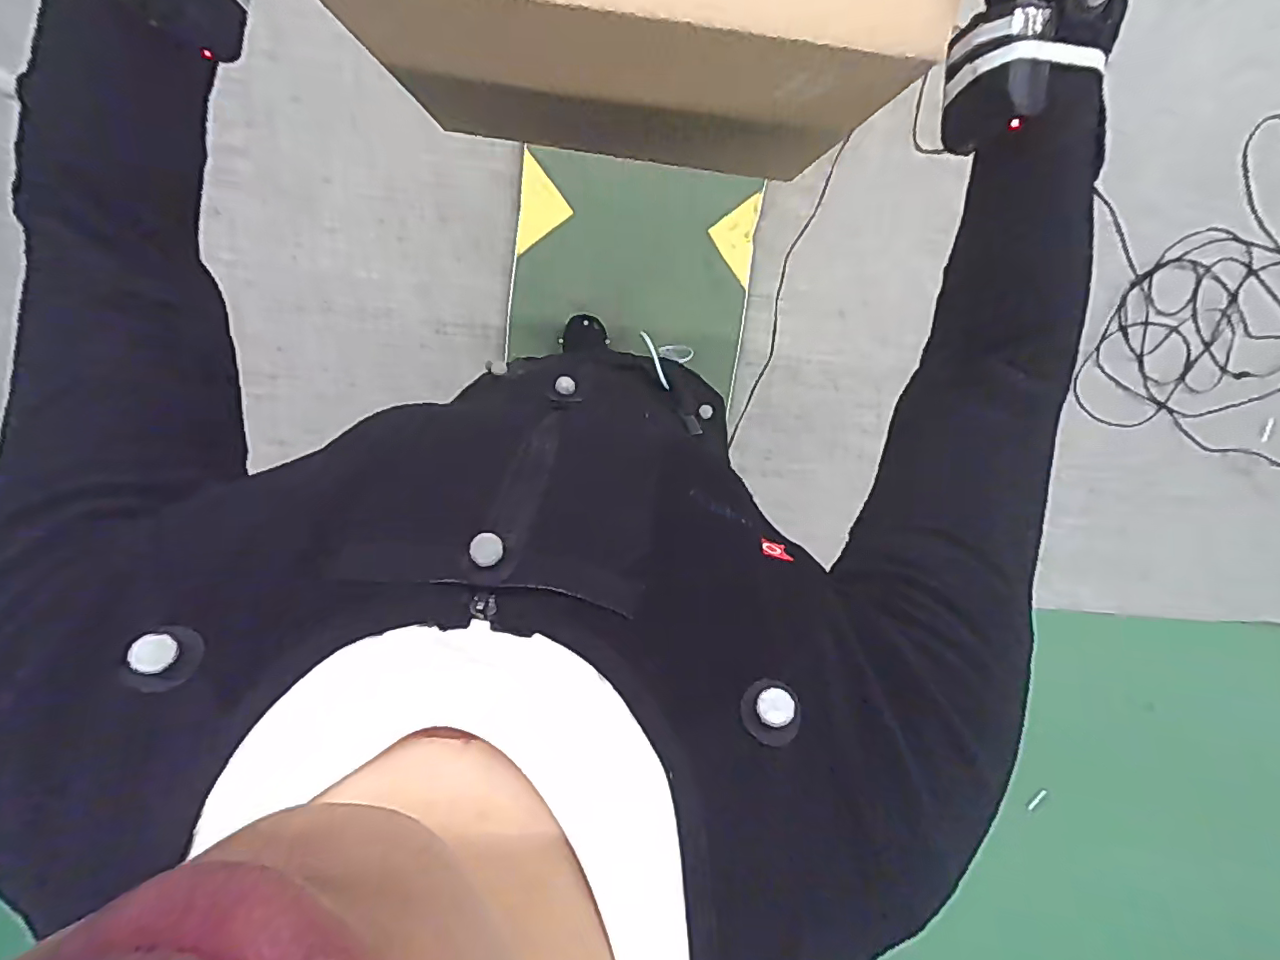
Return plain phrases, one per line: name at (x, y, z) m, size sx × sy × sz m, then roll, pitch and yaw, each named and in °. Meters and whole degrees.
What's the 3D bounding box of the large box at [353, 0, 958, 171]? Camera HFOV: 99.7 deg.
large box at (0.008, -0.479, 0.436) m, size 0.408 × 0.320 × 0.320 m, roll 5°, pitch 107°, yaw -5°
